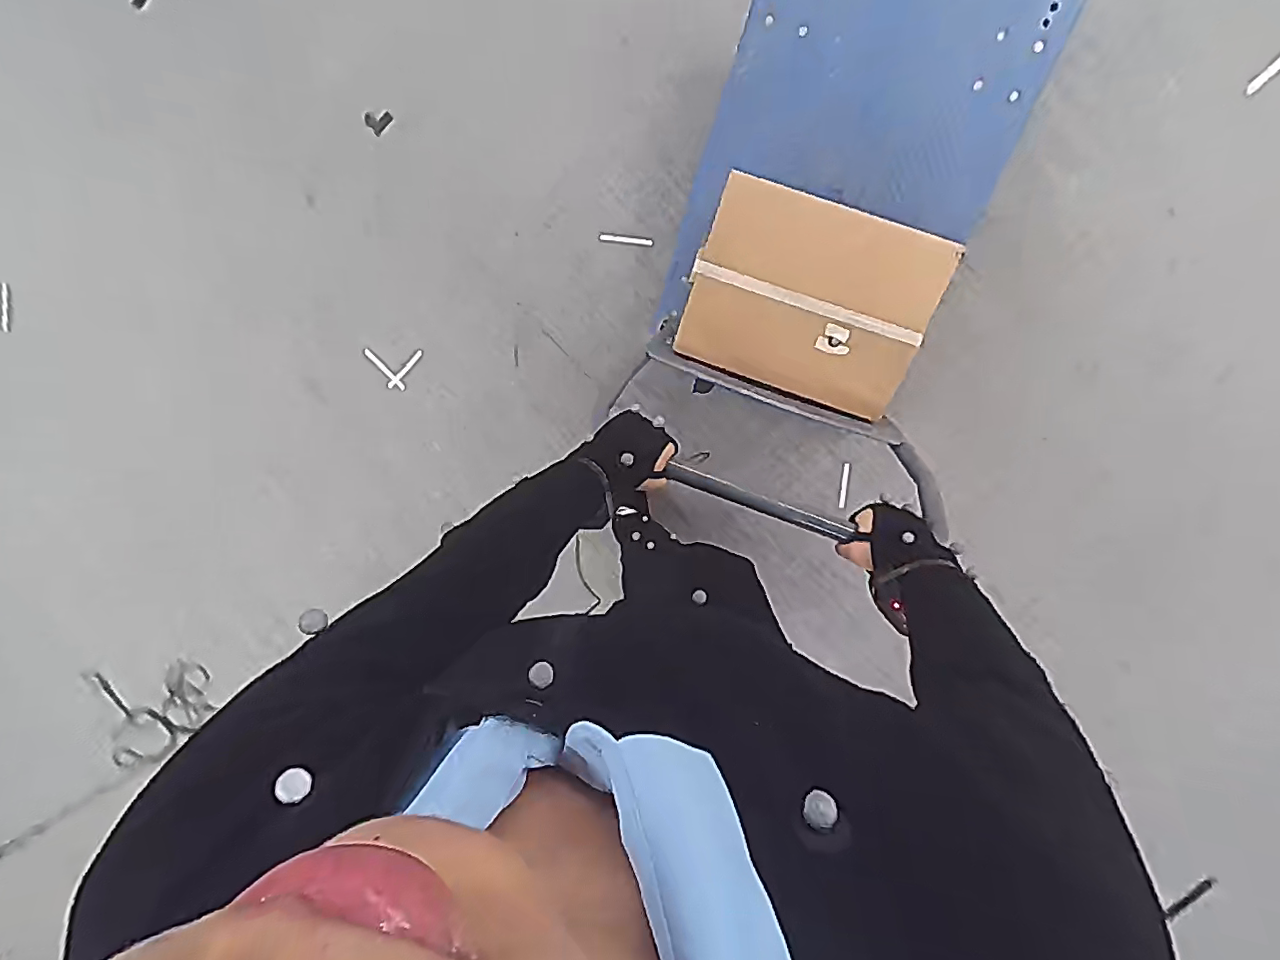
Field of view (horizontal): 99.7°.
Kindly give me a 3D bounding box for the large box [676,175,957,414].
[{"bbox_3d":[0.319,-0.367,1.096,0.408,0.320,0.320,20,112,3],"label":"large box"}]
